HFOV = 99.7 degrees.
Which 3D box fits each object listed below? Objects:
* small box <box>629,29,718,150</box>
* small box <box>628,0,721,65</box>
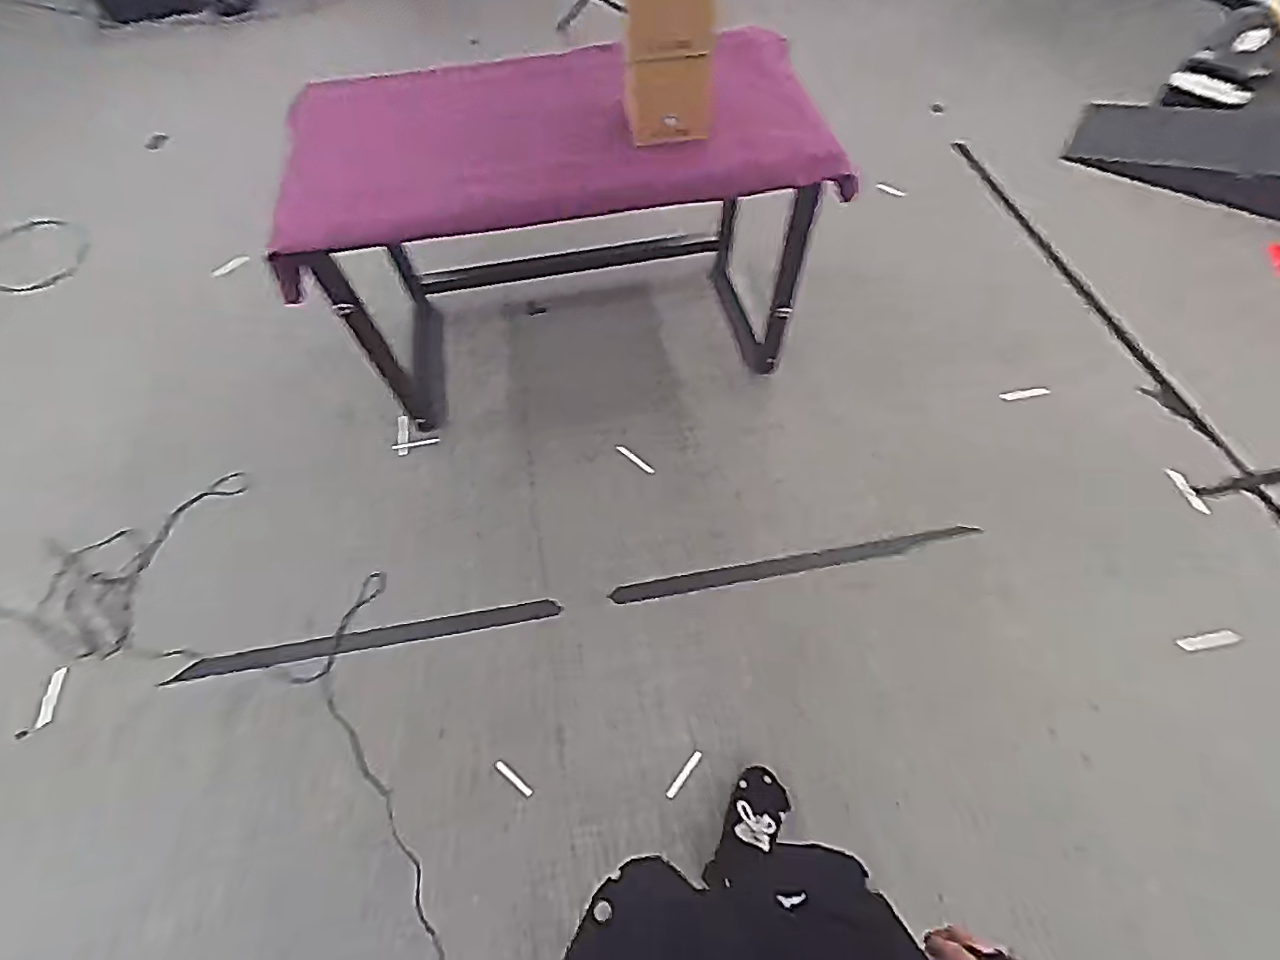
[{"bbox_3d":[0.067,-0.856,1.179,0.168,0.176,0.179,-8,61,-1],"label":"small box"},{"bbox_3d":[0.061,-0.932,1.033,0.168,0.176,0.179,-6,60,0],"label":"small box"}]
